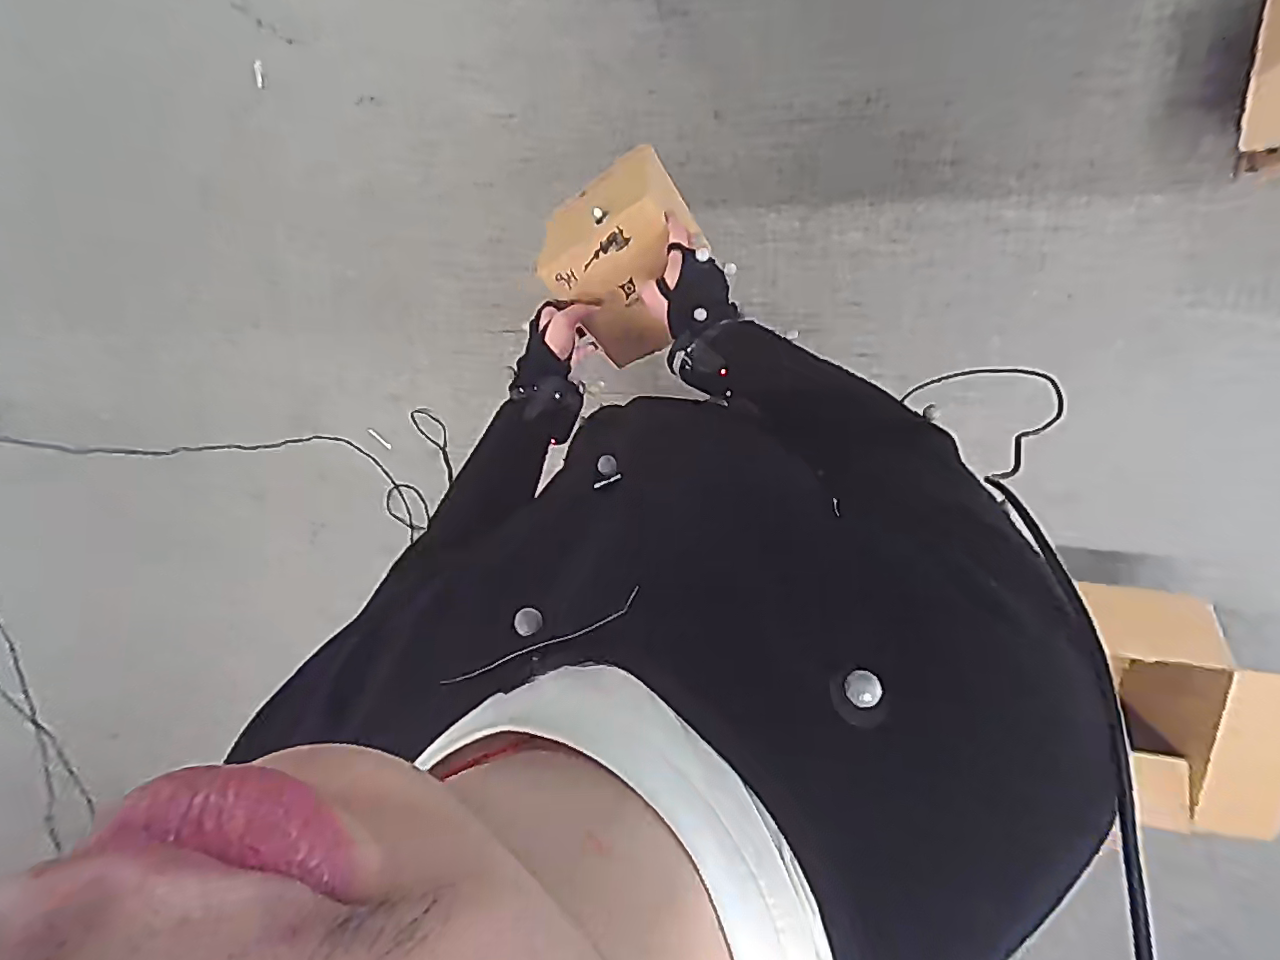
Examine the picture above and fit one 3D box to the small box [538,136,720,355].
[{"bbox_3d":[-0.009,-0.311,0.724,0.168,0.176,0.179,-25,133,27],"label":"small box"}]
